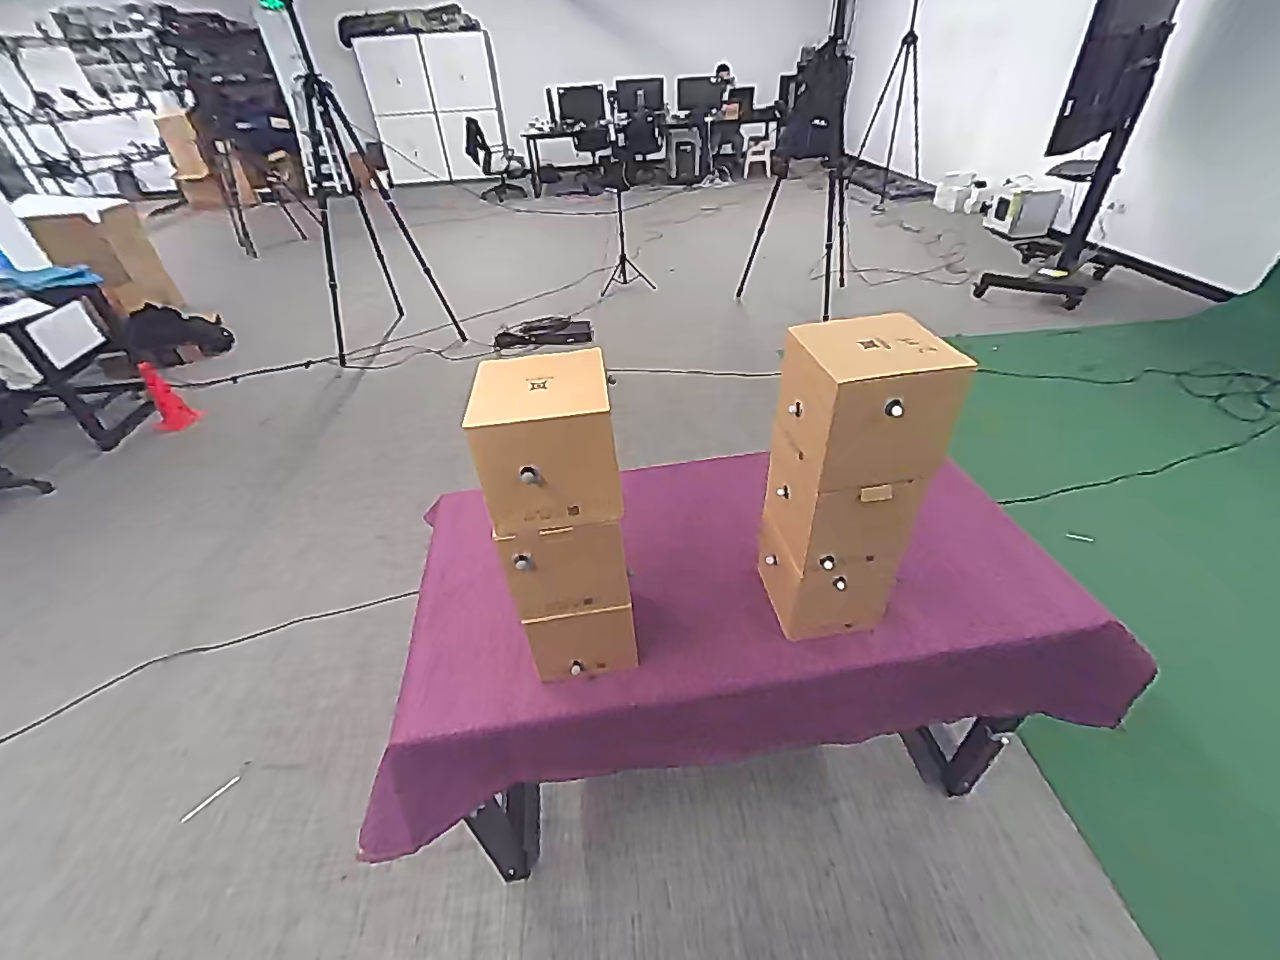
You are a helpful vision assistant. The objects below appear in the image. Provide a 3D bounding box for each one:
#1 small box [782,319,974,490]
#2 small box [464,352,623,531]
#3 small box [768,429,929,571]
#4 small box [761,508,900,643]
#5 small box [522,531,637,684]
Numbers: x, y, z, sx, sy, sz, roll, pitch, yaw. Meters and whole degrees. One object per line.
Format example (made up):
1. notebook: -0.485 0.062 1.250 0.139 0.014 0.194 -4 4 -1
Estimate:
1. small box: 0.302 -0.101 0.736 0.179 0.176 0.168 -7 39 -4
2. small box: -0.116 -0.047 0.711 0.168 0.176 0.179 -7 37 -3
3. small box: 0.309 0.026 0.842 0.168 0.176 0.179 -8 38 -5
4. small box: 0.317 0.155 0.943 0.168 0.176 0.179 -9 38 -3
5. small box: -0.097 0.213 0.910 0.168 0.176 0.179 -7 39 -3
